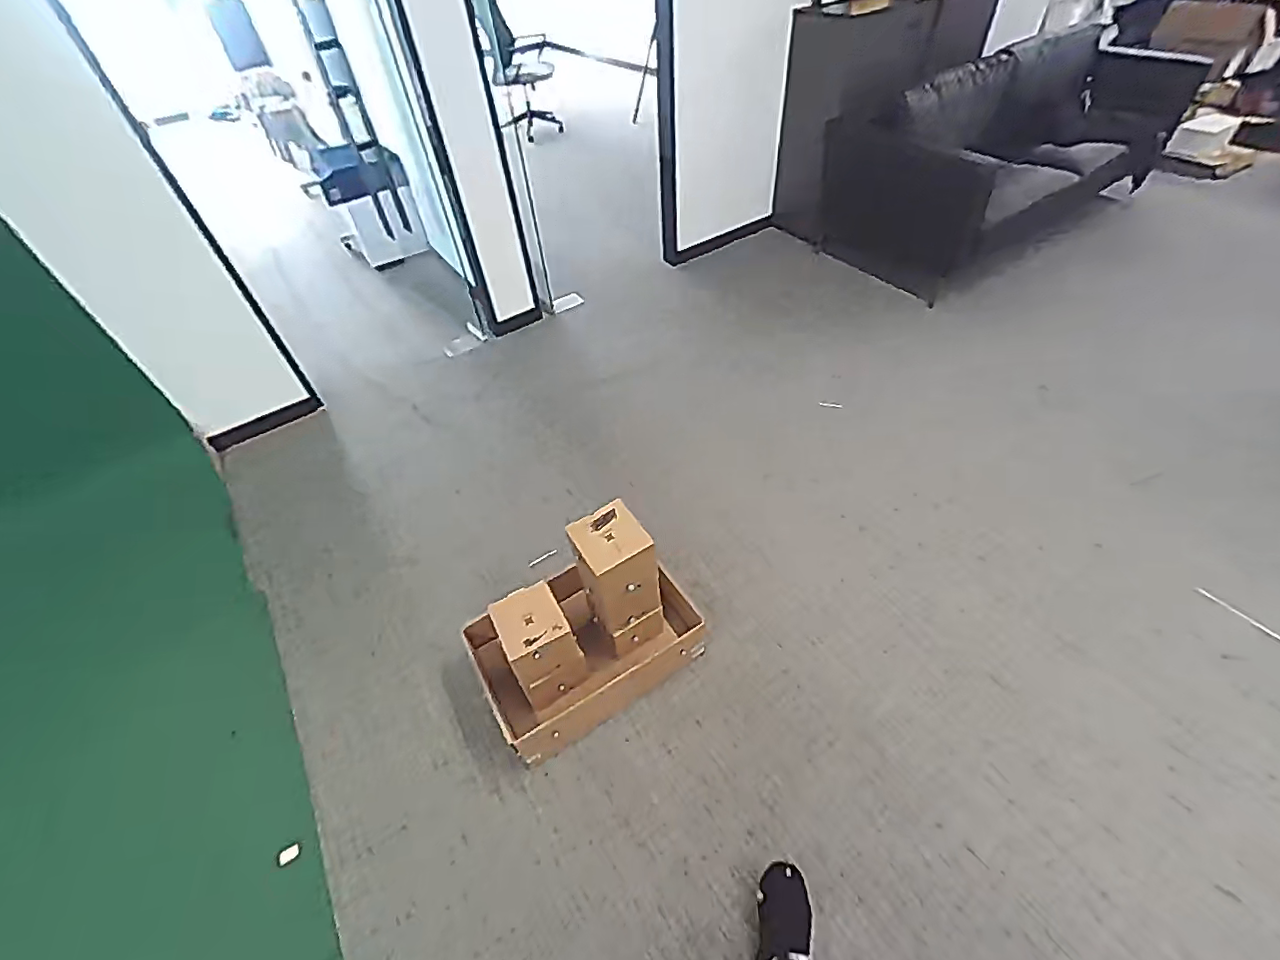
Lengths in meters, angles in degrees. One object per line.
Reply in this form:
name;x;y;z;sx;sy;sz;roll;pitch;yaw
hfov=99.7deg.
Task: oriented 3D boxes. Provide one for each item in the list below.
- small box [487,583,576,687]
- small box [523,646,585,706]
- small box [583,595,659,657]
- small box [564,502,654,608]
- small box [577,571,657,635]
small box;-0.285;0.413;1.435;0.168;0.176;0.179;-24;50;-17
small box;-0.273;0.524;1.556;0.168;0.176;0.179;-27;52;-22
small box;-0.053;0.412;1.645;0.168;0.176;0.179;-28;52;-19
small box;-0.077;0.197;1.400;0.168;0.176;0.179;-28;52;-17
small box;-0.067;0.301;1.525;0.168;0.176;0.179;-27;52;-17
